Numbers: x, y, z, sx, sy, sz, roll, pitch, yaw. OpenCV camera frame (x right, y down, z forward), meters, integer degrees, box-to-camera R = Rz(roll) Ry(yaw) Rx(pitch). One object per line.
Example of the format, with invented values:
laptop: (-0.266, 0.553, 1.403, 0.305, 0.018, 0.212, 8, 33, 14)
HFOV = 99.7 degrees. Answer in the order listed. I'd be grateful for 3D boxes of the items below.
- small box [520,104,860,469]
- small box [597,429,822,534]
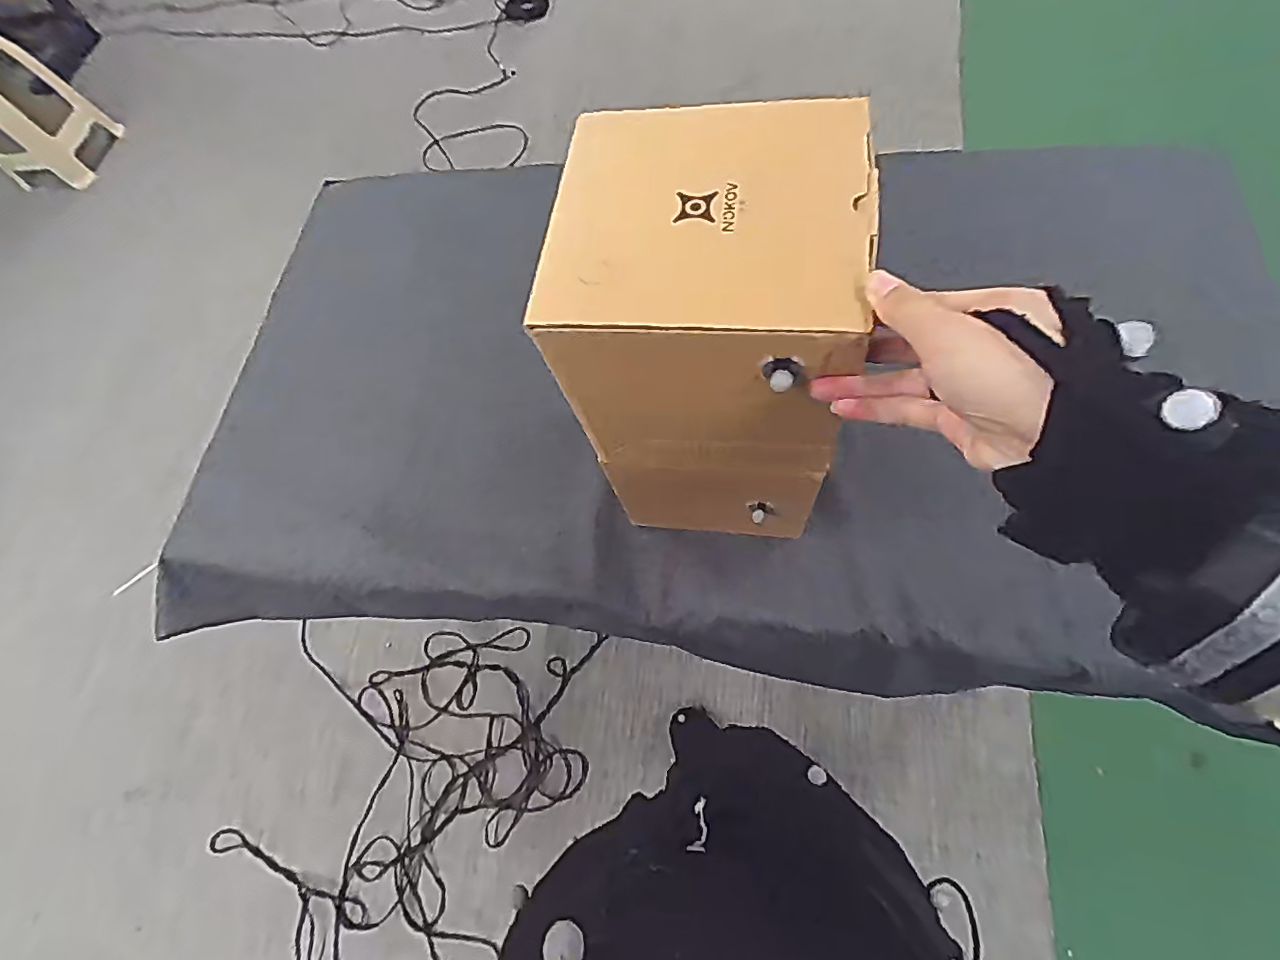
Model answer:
small box: (0.044, -0.117, 0.373, 0.179, 0.176, 0.168, 4, 68, 11)
small box: (0.072, -0.051, 0.520, 0.179, 0.176, 0.168, 3, 67, 12)
